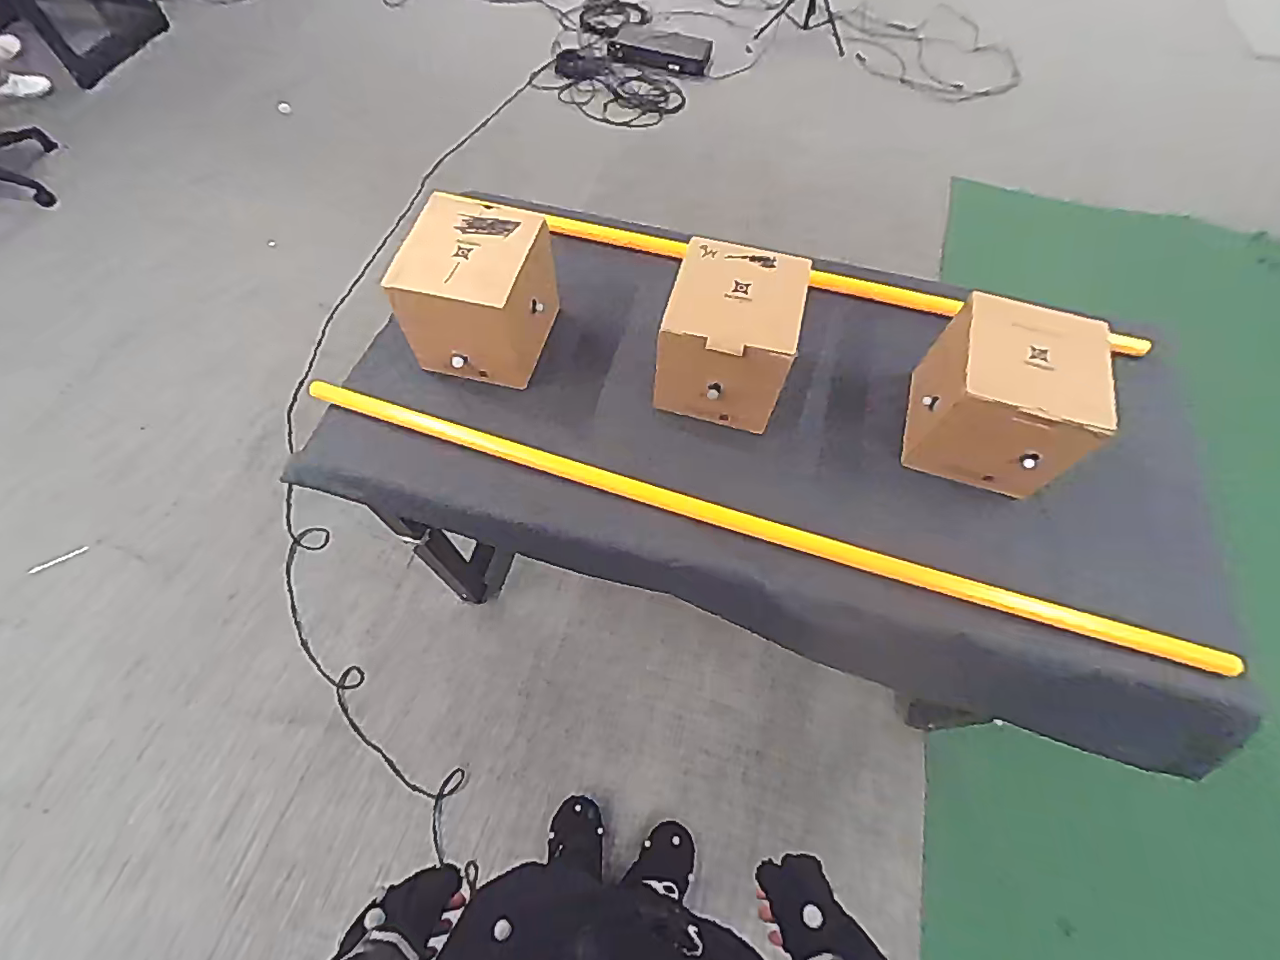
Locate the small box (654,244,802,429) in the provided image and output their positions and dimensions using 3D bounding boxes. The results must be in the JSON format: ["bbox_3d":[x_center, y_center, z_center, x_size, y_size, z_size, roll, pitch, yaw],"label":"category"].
[{"bbox_3d":[0.117,-0.194,0.756,0.168,0.176,0.179,11,62,6],"label":"small box"}]

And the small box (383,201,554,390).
[{"bbox_3d":[-0.228,-0.260,0.779,0.168,0.176,0.179,13,63,5],"label":"small box"}]

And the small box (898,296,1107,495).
[{"bbox_3d":[0.464,-0.104,0.716,0.168,0.176,0.179,17,61,6],"label":"small box"}]
